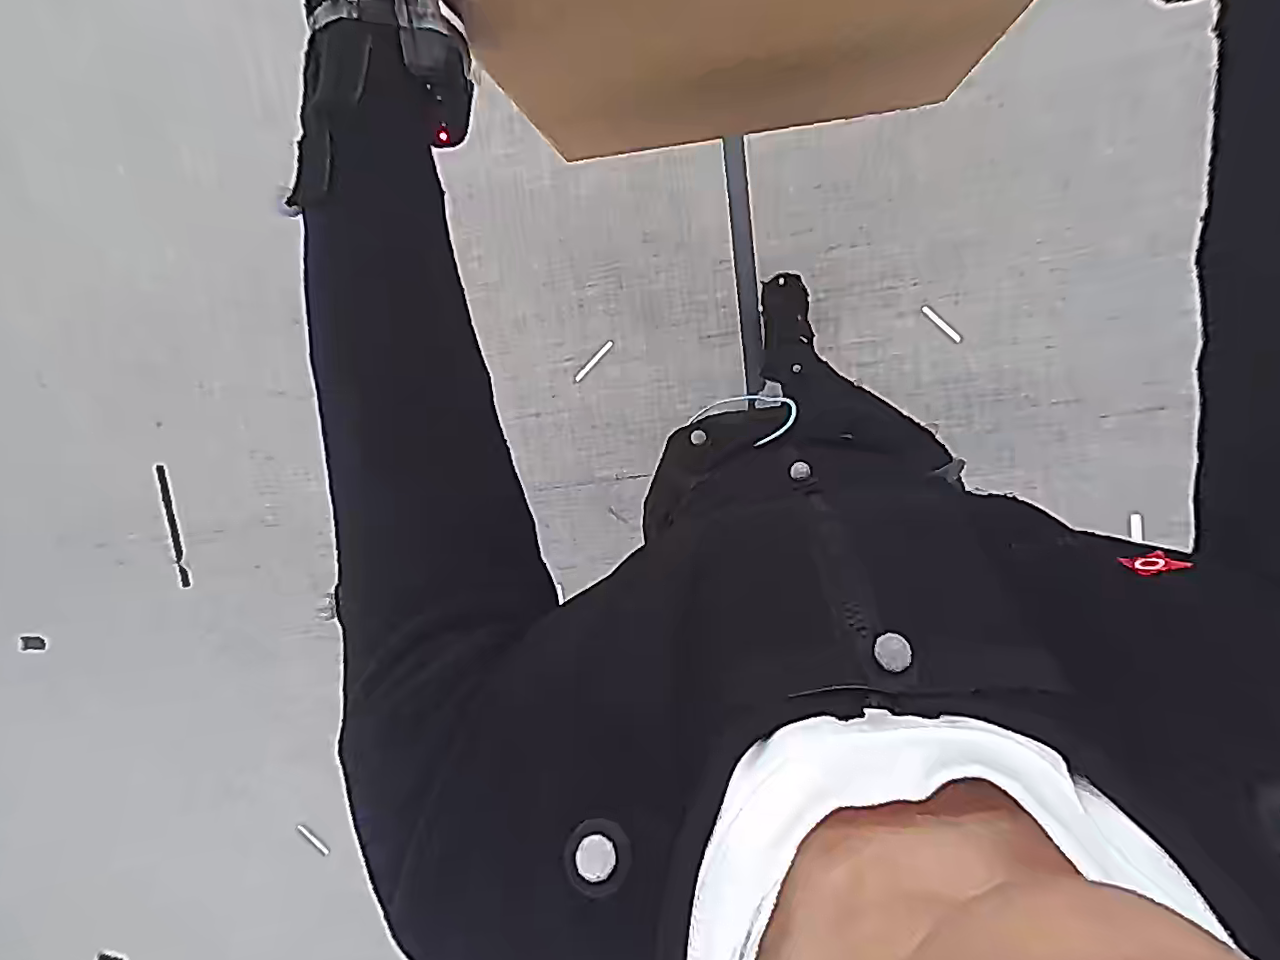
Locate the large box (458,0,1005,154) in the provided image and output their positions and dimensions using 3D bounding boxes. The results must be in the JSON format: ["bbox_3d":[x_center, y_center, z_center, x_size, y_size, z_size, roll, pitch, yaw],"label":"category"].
[{"bbox_3d":[0.074,-0.499,0.413,0.408,0.320,0.320,-4,104,9],"label":"large box"}]
